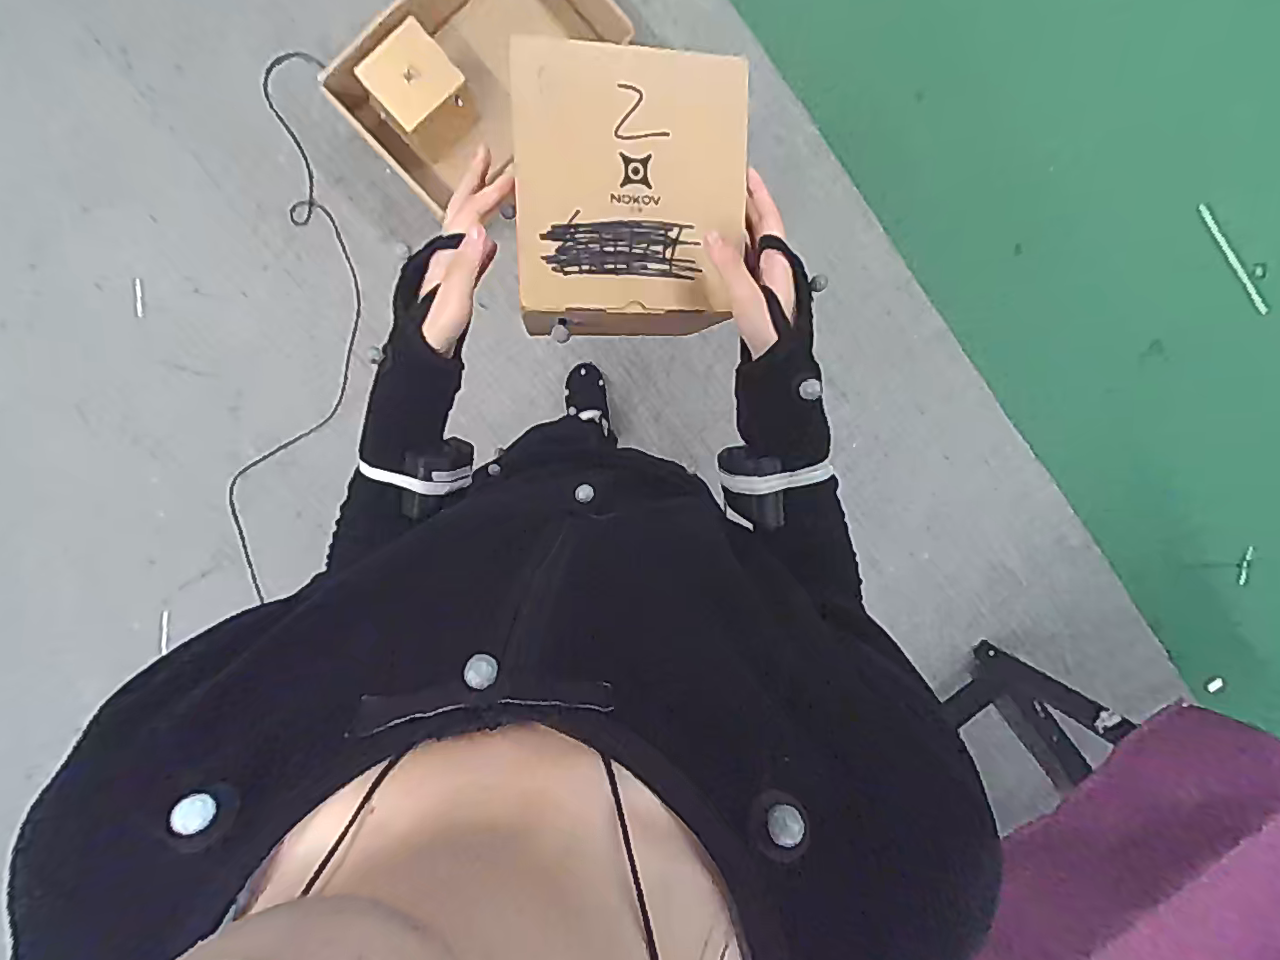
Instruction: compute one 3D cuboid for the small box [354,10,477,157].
[{"bbox_3d":[-0.502,-0.894,1.241,0.179,0.176,0.168,-43,98,0],"label":"small box"}]
